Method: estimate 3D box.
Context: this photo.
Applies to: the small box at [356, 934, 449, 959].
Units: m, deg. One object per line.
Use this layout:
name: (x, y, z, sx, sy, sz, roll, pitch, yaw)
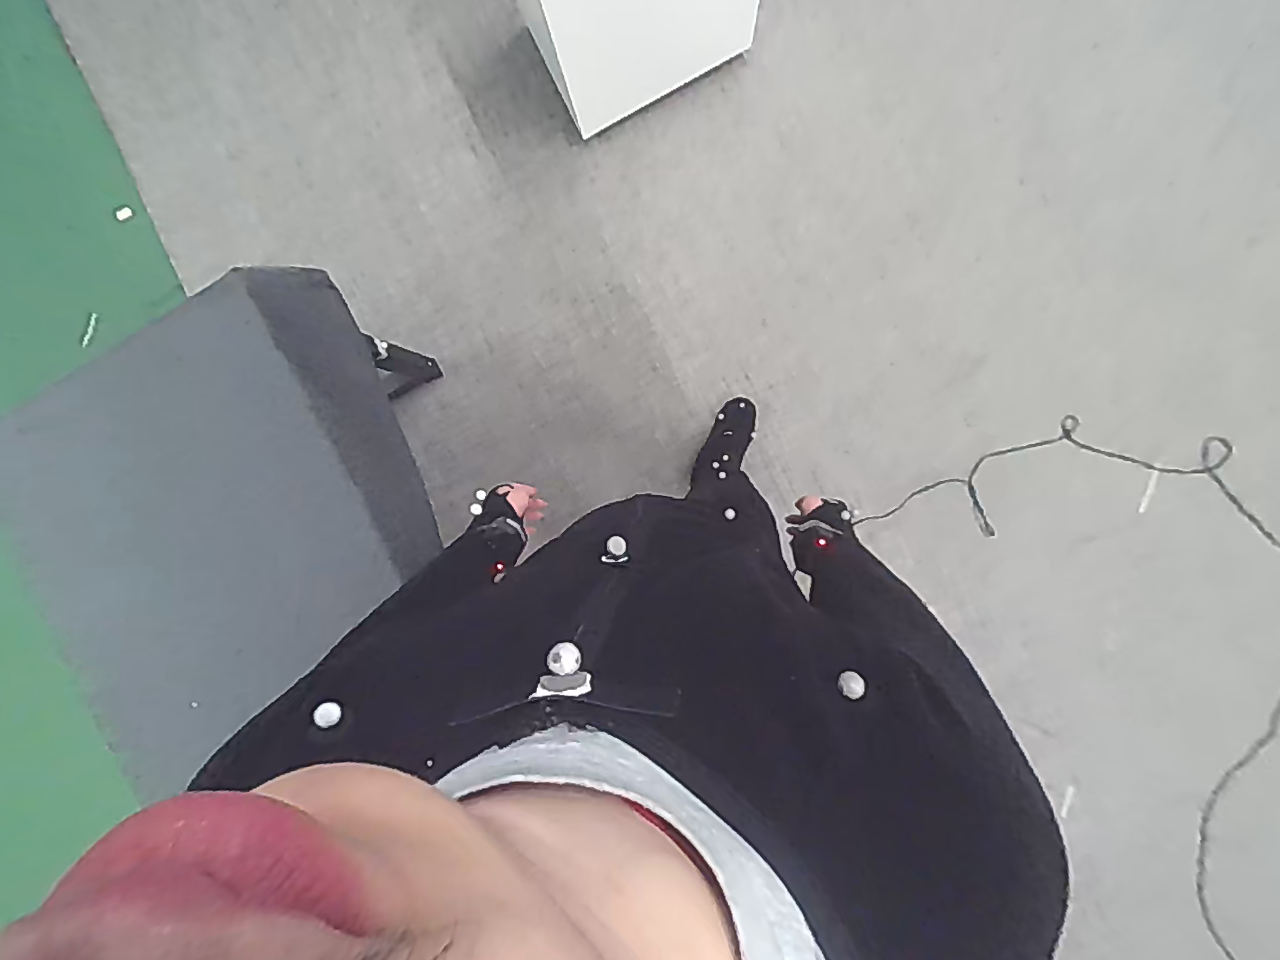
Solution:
small box: (-0.365, 0.805, 0.771, 0.168, 0.176, 0.179, -30, 91, 5)
